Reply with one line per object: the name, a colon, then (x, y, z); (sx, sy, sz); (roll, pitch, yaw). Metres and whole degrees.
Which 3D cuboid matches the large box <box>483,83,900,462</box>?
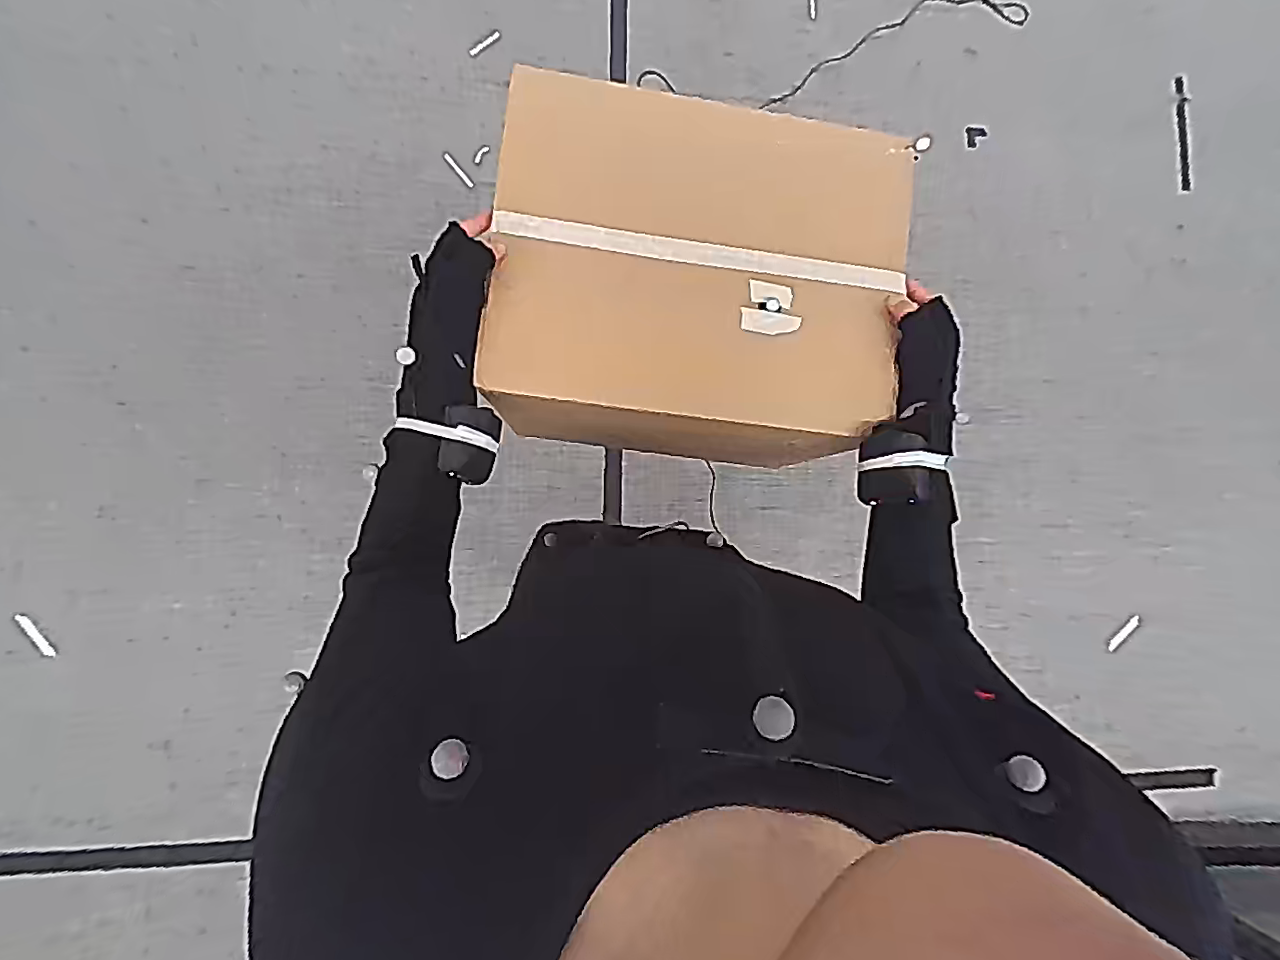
large box: (0.043, -0.206, 0.680); (0.408, 0.320, 0.320); (7, 87, -6)
